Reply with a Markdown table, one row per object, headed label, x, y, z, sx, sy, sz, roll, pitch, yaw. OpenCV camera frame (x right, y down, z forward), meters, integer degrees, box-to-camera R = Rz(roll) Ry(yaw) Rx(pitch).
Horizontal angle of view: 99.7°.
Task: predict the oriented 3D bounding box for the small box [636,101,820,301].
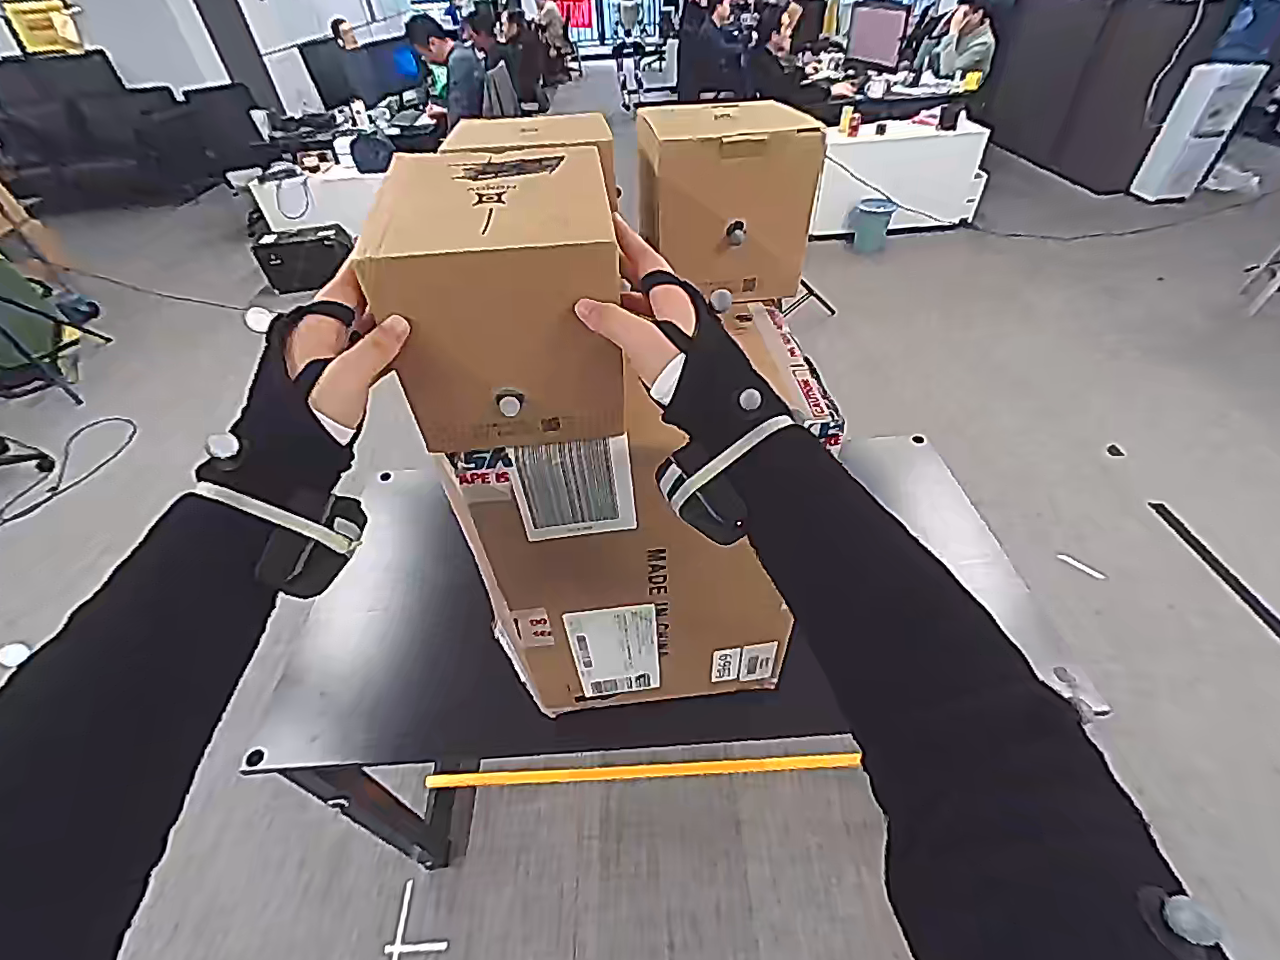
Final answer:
| label | x | y | z | sx | sy | sz | roll | pitch | yaw |
| --- | --- | --- | --- | --- | --- | --- | --- | --- | --- |
| small box | 0.087 | -0.319 | 0.627 | 0.168 | 0.176 | 0.179 | -5 | 44 | -4 |

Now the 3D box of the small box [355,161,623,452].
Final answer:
| label | x | y | z | sx | sy | sz | roll | pitch | yaw |
| --- | --- | --- | --- | --- | --- | --- | --- | --- | --- |
| small box | -0.105 | -0.145 | 0.452 | 0.168 | 0.176 | 0.179 | -6 | 47 | -4 |

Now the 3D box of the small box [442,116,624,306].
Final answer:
| label | x | y | z | sx | sy | sz | roll | pitch | yaw |
| --- | --- | --- | --- | --- | --- | --- | --- | --- | --- |
| small box | -0.112 | -0.302 | 0.622 | 0.168 | 0.176 | 0.179 | -7 | 42 | -4 |
